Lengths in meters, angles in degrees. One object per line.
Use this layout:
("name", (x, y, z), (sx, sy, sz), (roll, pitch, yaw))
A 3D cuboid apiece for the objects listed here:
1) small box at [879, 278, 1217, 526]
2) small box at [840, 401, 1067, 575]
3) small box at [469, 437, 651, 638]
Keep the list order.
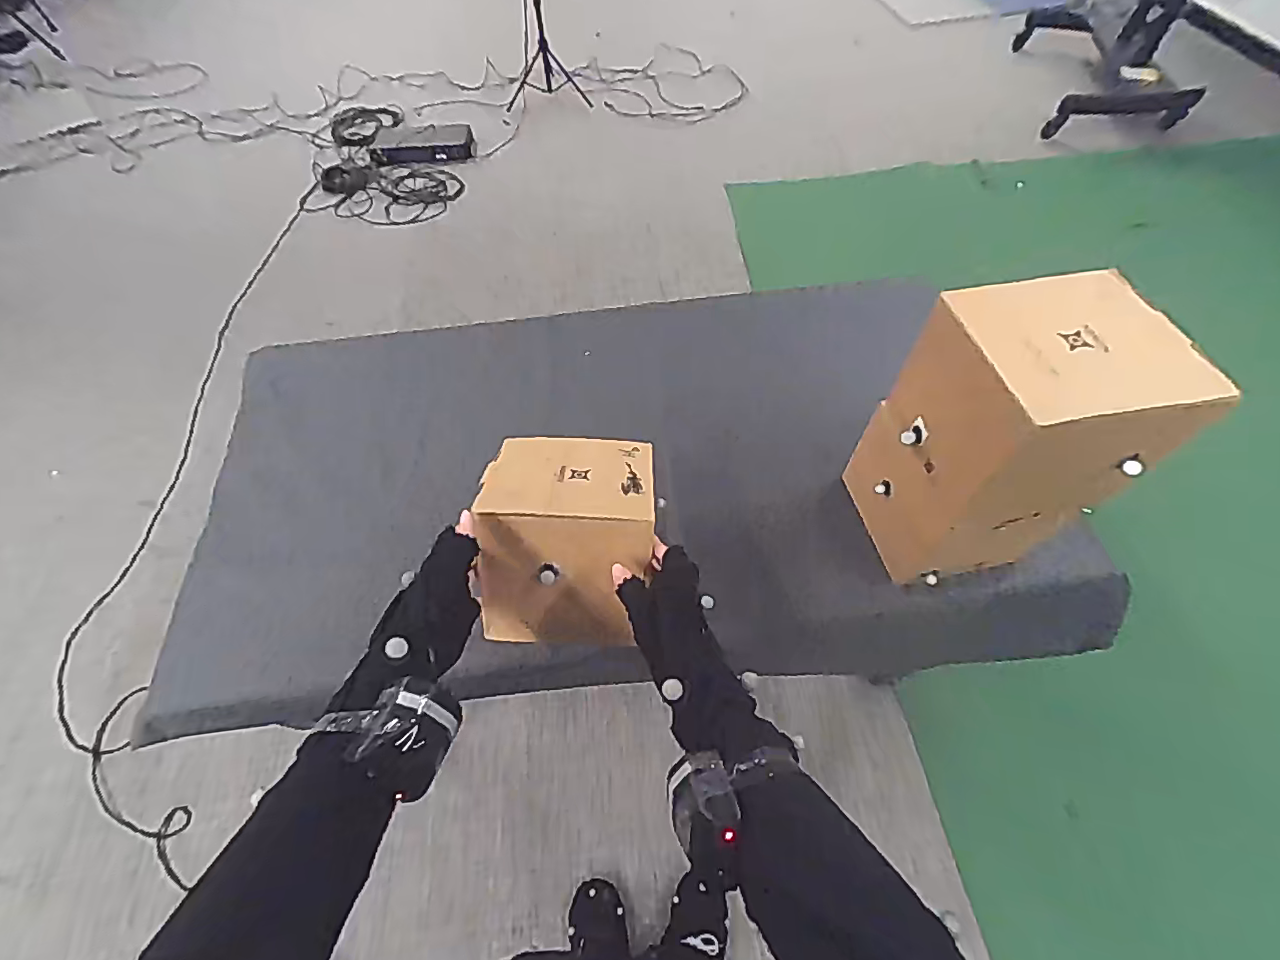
("small box", (0.376, -0.071, 0.543), (0.179, 0.176, 0.168), (-9, 56, -2))
("small box", (0.380, 0.007, 0.685), (0.168, 0.176, 0.179), (-10, 57, -5))
("small box", (-0.078, 0.062, 0.620), (0.179, 0.176, 0.168), (2, 29, 0))
